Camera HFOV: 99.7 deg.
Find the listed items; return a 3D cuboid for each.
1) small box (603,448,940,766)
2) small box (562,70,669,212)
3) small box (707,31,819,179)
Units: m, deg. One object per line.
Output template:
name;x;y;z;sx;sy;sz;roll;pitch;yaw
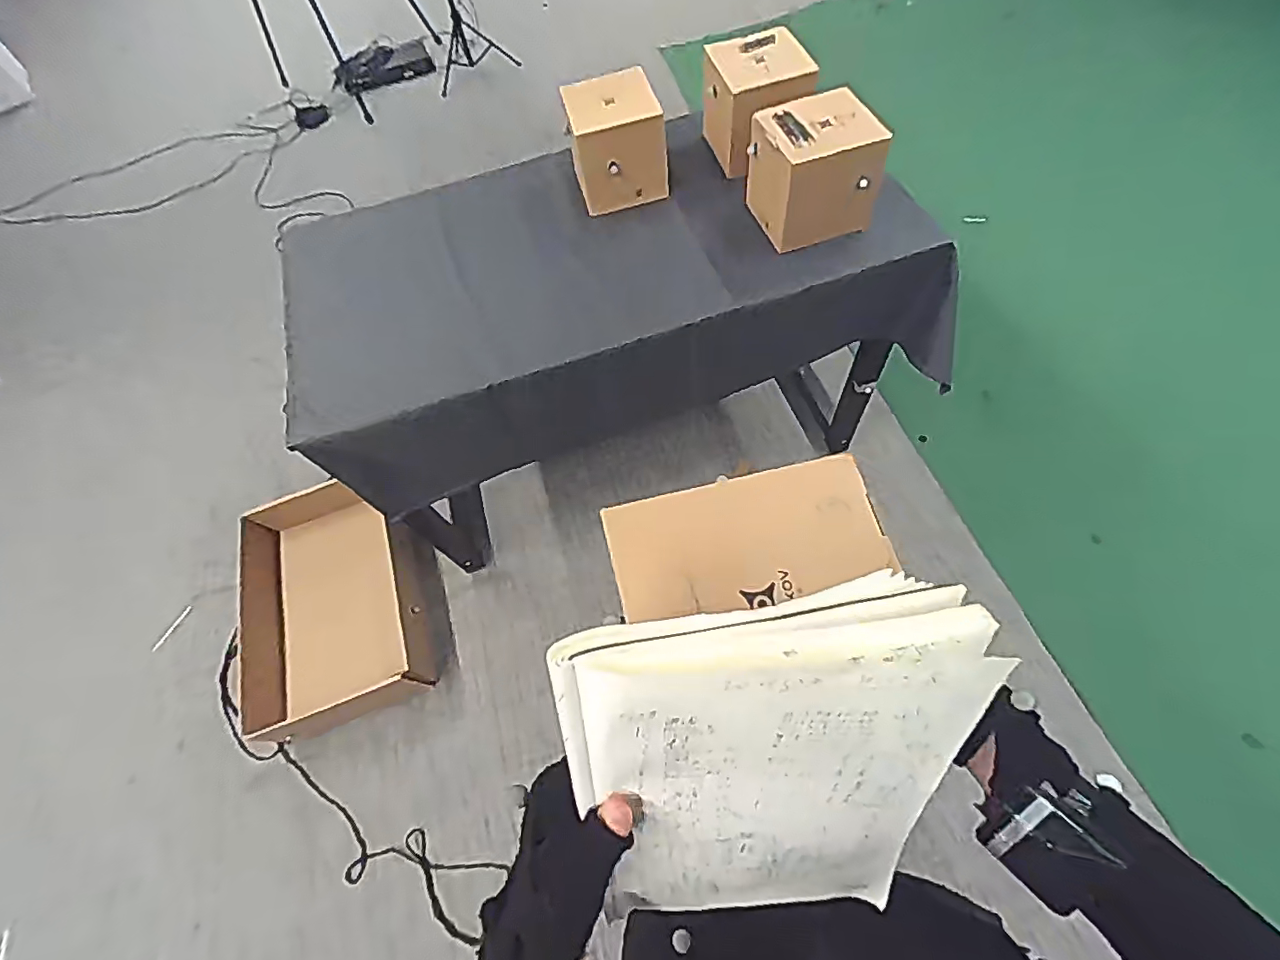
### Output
small box;0.073;0.094;0.407;0.179;0.176;0.168;-12;70;-5
small box;-0.044;-0.661;1.072;0.168;0.176;0.179;-15;61;-1
small box;0.233;-0.743;1.080;0.168;0.176;0.179;-16;62;-1
